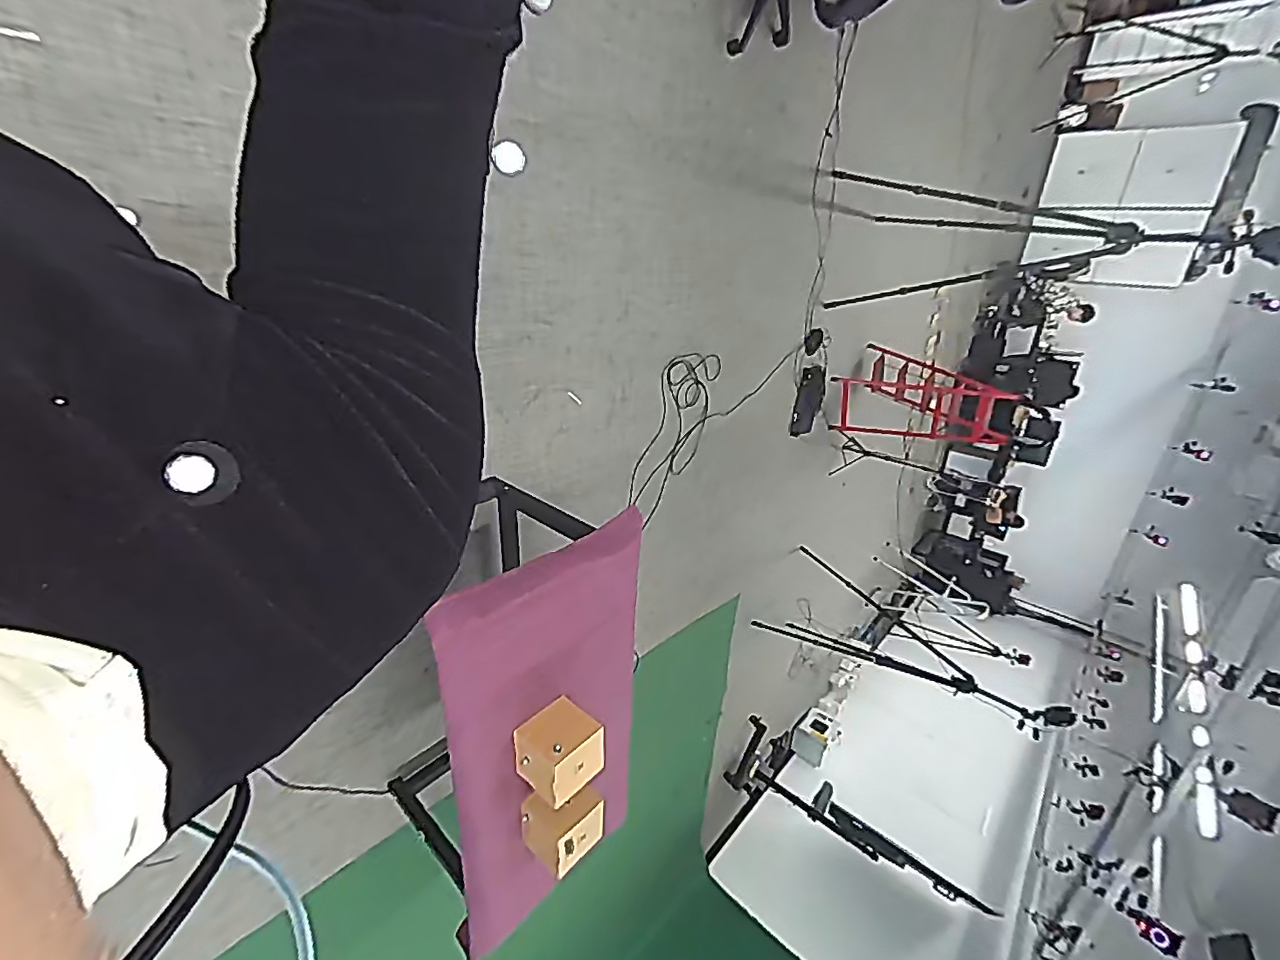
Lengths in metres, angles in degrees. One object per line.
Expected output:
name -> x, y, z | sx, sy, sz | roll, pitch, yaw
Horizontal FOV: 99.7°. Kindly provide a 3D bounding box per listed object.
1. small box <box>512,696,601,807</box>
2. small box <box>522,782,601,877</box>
small box -> -0.228, 0.735, 1.485 | 0.179, 0.176, 0.168 | -23, 124, -43
small box -> -0.236, 1.000, 1.598 | 0.179, 0.176, 0.168 | -21, 122, -45
